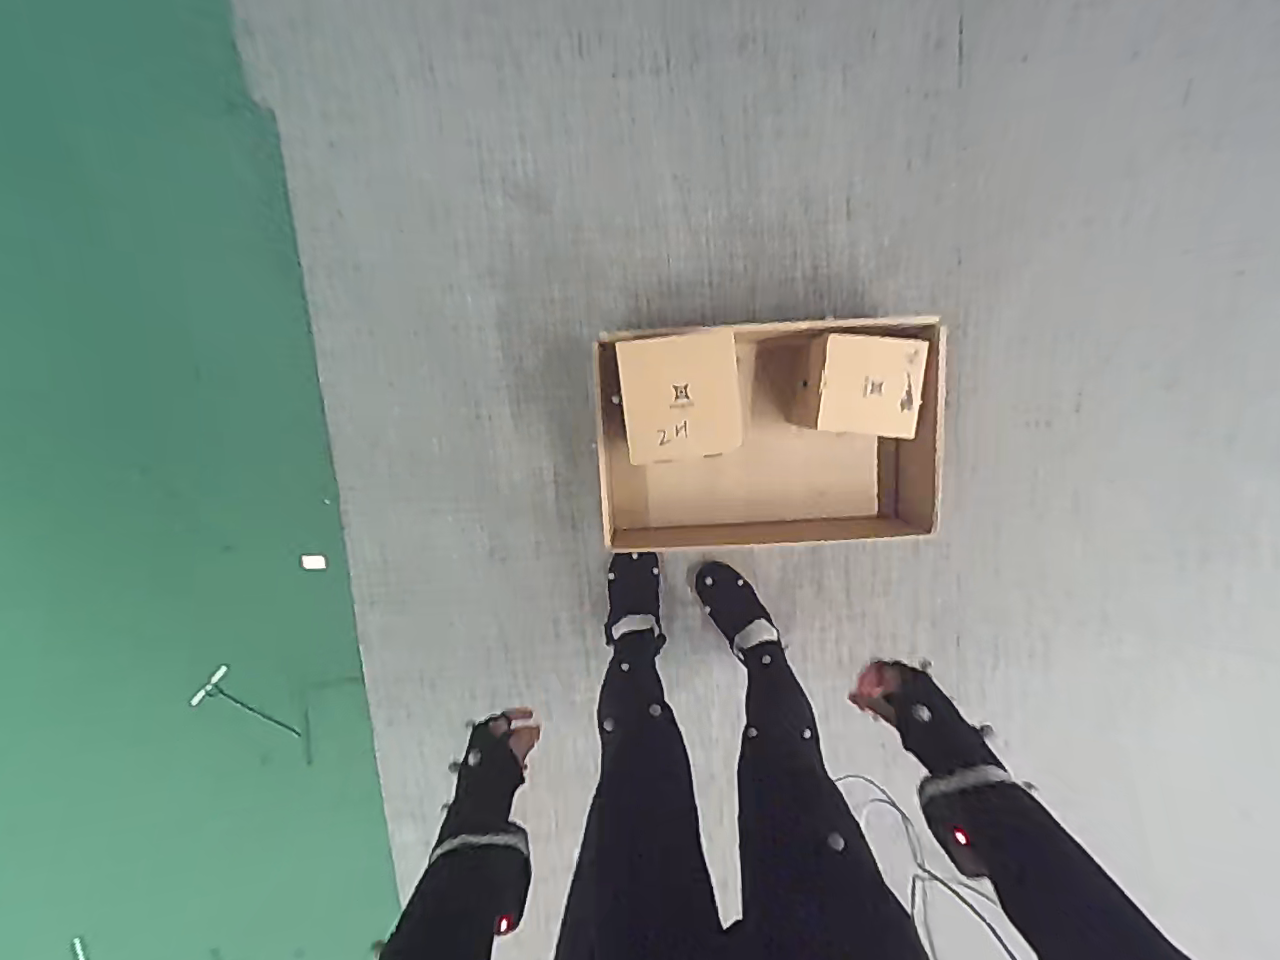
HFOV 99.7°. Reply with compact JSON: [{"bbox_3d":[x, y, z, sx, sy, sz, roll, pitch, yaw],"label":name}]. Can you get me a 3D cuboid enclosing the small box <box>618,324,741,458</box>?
[{"bbox_3d":[0.056,-0.135,0.834,0.168,0.176,0.179,-5,100,2],"label":"small box"}]
